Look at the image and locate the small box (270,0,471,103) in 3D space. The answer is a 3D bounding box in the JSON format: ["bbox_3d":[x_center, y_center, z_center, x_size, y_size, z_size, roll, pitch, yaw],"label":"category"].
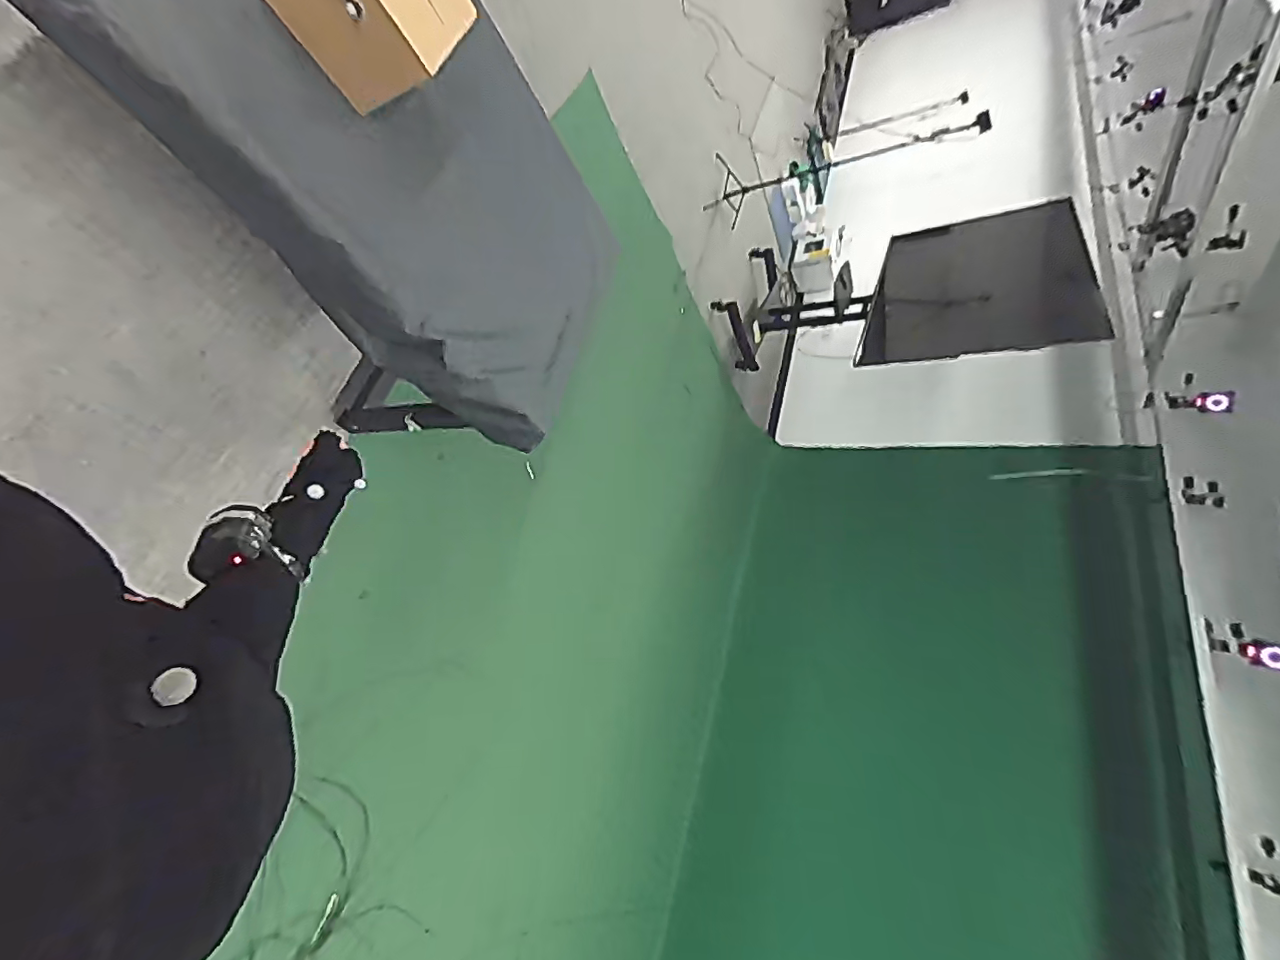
[{"bbox_3d":[-0.377,-0.671,0.743,0.179,0.176,0.168,48,51,-50],"label":"small box"}]
